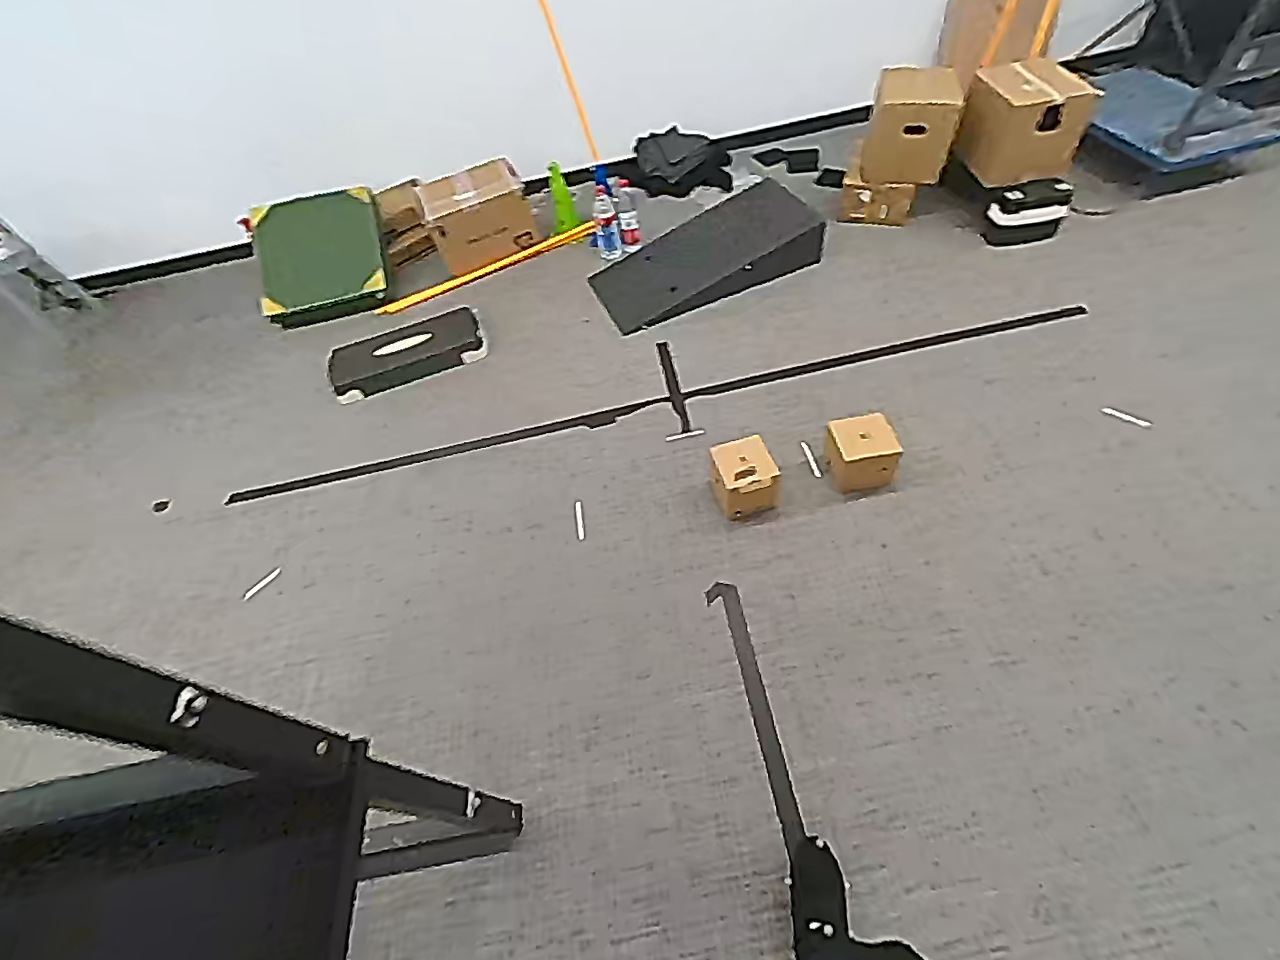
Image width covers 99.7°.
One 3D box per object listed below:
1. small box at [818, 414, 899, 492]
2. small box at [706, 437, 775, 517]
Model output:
[{"bbox_3d":[0.681,-0.081,1.704,0.179,0.176,0.168,-10,52,2],"label":"small box"},{"bbox_3d":[0.314,-0.002,1.701,0.168,0.176,0.179,-16,52,-3],"label":"small box"}]
